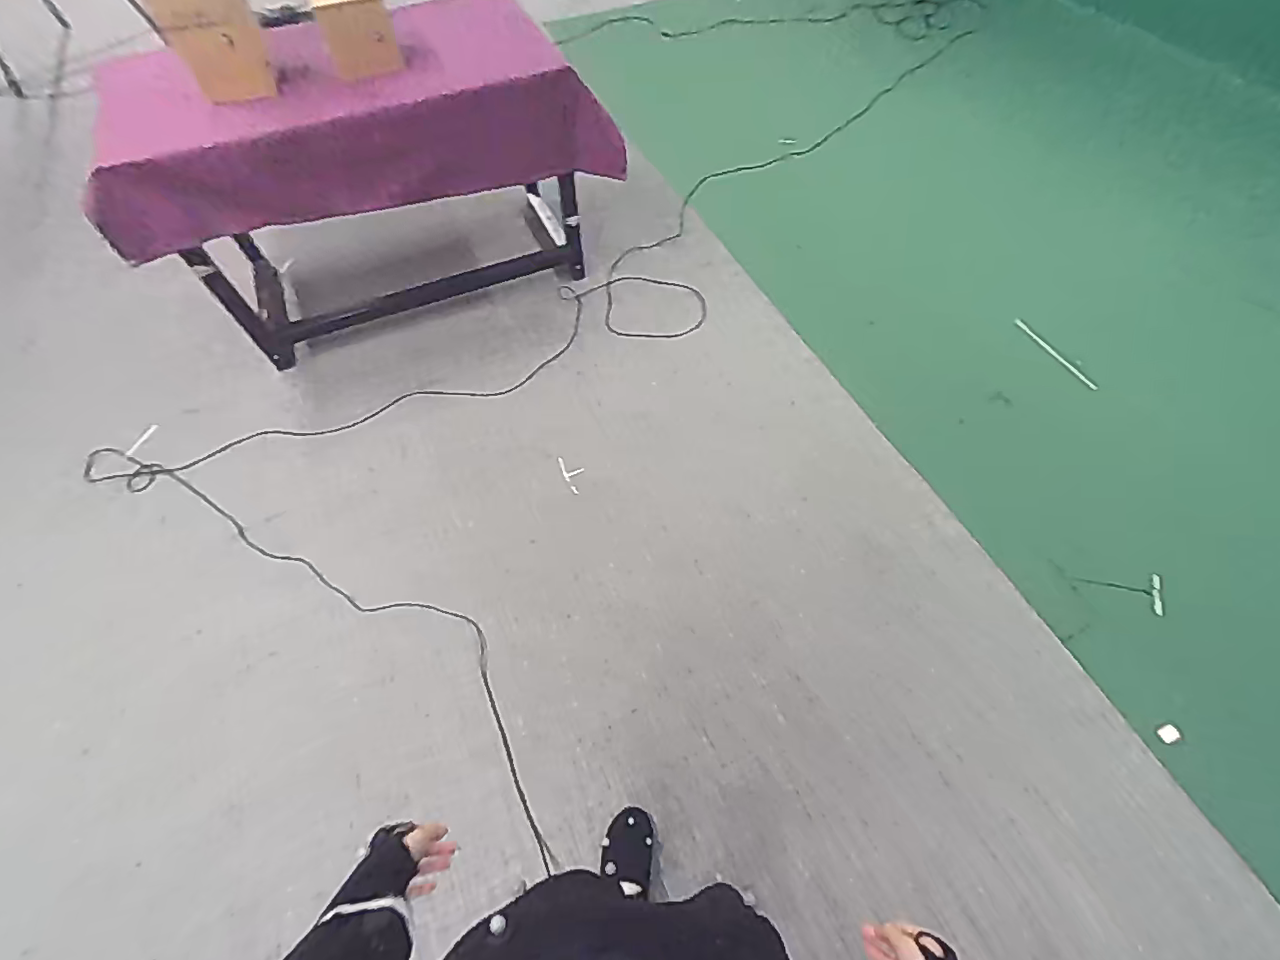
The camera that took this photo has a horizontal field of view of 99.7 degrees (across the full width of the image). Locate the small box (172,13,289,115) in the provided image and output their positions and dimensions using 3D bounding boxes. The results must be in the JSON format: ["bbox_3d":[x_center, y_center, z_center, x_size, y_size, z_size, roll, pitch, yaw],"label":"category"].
[{"bbox_3d":[-1.078,-1.100,1.437,0.179,0.176,0.168,-11,59,-7],"label":"small box"}]

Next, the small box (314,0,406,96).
[{"bbox_3d":[-0.768,-1.207,1.500,0.179,0.176,0.168,-20,60,-11],"label":"small box"}]
